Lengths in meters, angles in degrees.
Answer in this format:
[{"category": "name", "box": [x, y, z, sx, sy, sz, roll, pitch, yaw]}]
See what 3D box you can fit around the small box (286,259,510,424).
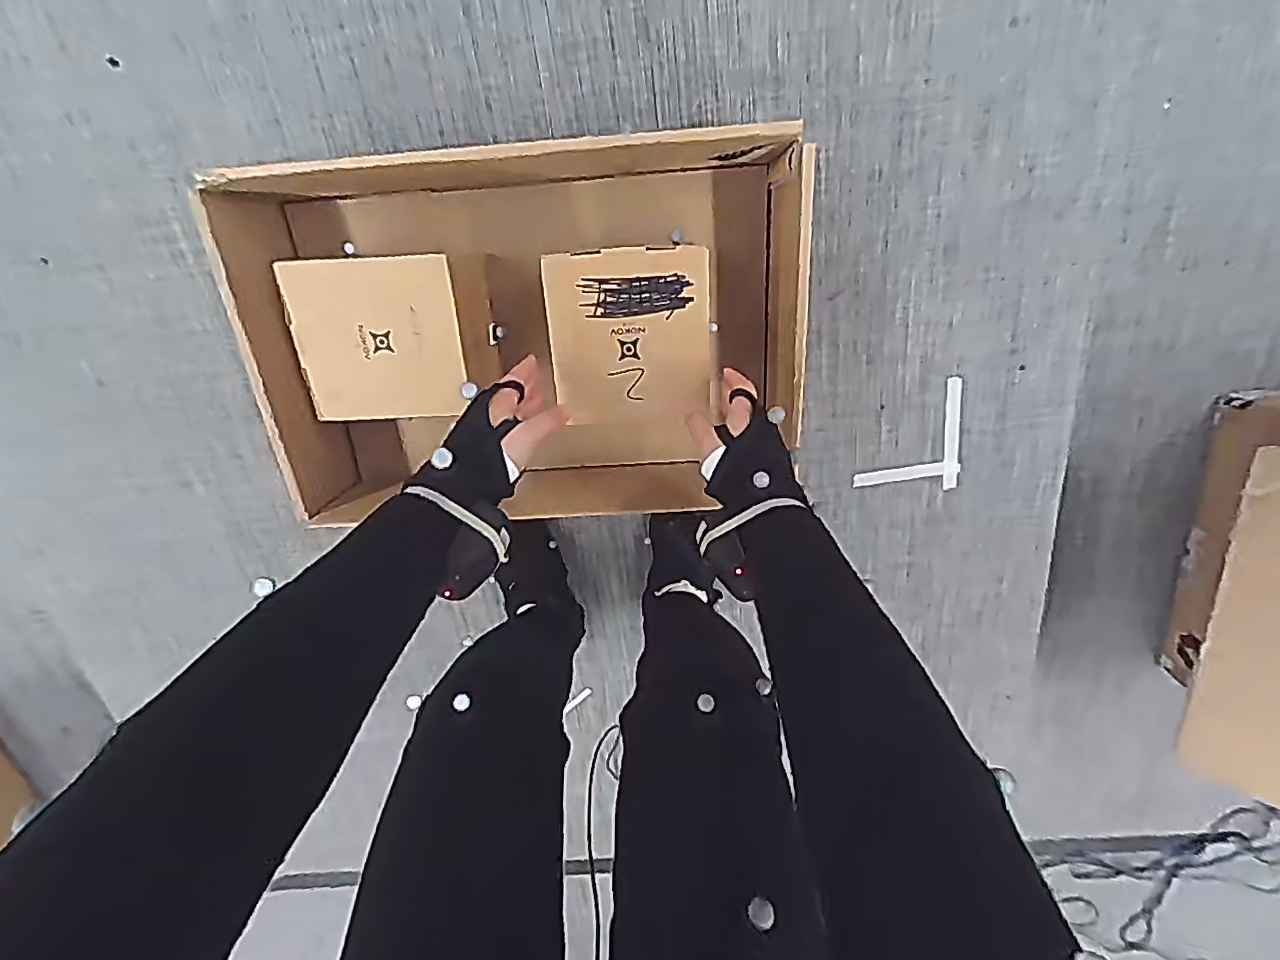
[{"category": "small box", "box": [-0.269, -0.172, 0.647, 0.179, 0.176, 0.168, -3, 114, 1]}]
